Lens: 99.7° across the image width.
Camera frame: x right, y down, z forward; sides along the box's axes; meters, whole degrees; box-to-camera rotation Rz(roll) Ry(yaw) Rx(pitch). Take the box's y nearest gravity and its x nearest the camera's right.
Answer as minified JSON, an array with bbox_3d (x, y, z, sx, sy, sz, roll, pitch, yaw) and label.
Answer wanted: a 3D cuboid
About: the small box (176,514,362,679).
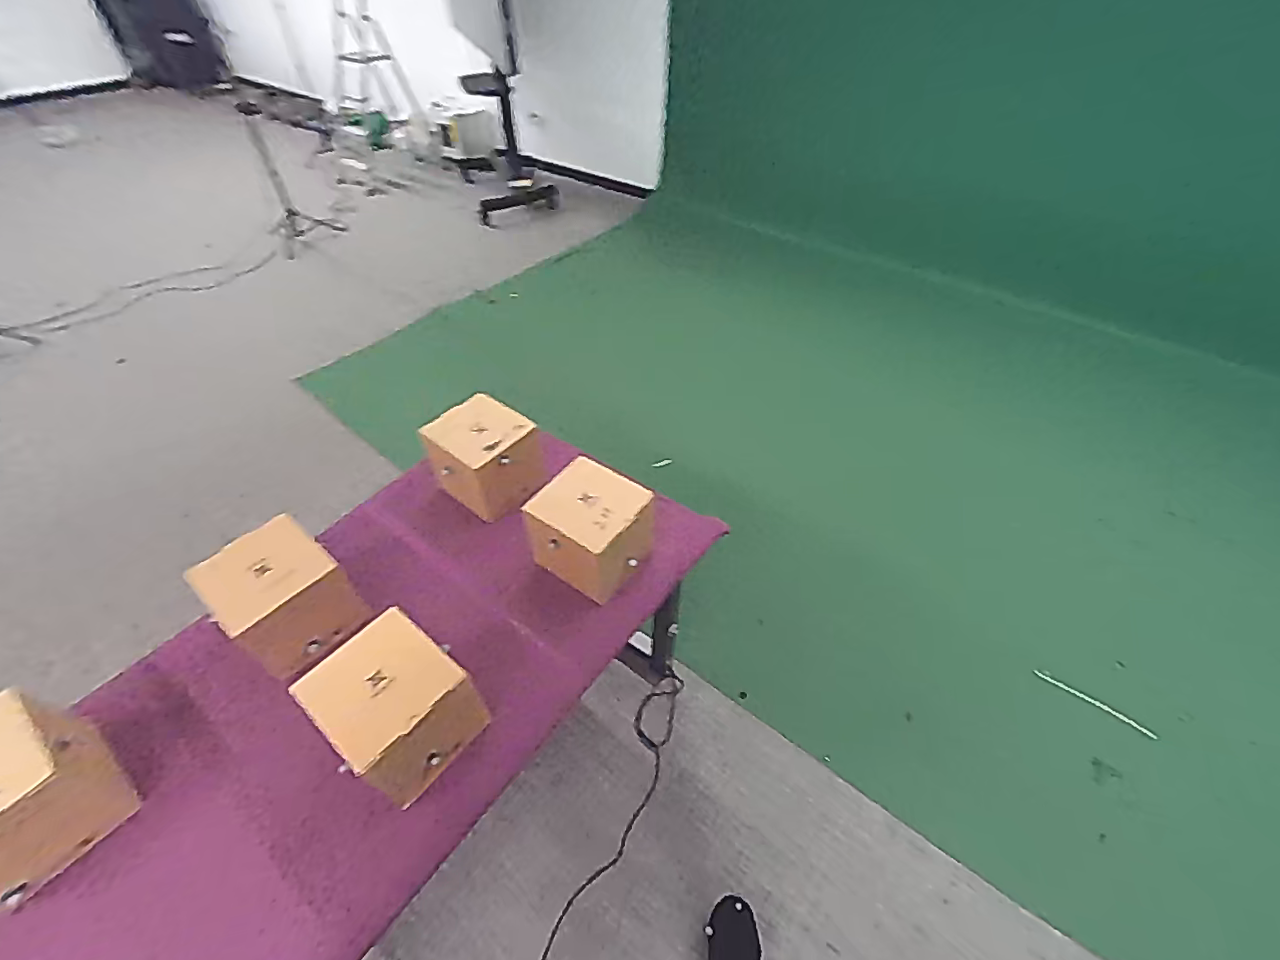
[{"bbox_3d":[-0.608,0.198,0.905,0.179,0.176,0.168,33,55,23],"label":"small box"}]

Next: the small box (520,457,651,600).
[{"bbox_3d":[-0.097,0.094,1.011,0.179,0.176,0.168,29,54,22],"label":"small box"}]

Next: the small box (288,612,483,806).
[{"bbox_3d":[-0.358,0.335,0.788,0.179,0.176,0.168,30,53,24],"label":"small box"}]

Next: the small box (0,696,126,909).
[{"bbox_3d":[-0.825,0.418,0.689,0.179,0.176,0.168,31,53,23],"label":"small box"}]

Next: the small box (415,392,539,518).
[{"bbox_3d":[-0.335,-0.050,1.138,0.179,0.176,0.168,31,54,23],"label":"small box"}]
